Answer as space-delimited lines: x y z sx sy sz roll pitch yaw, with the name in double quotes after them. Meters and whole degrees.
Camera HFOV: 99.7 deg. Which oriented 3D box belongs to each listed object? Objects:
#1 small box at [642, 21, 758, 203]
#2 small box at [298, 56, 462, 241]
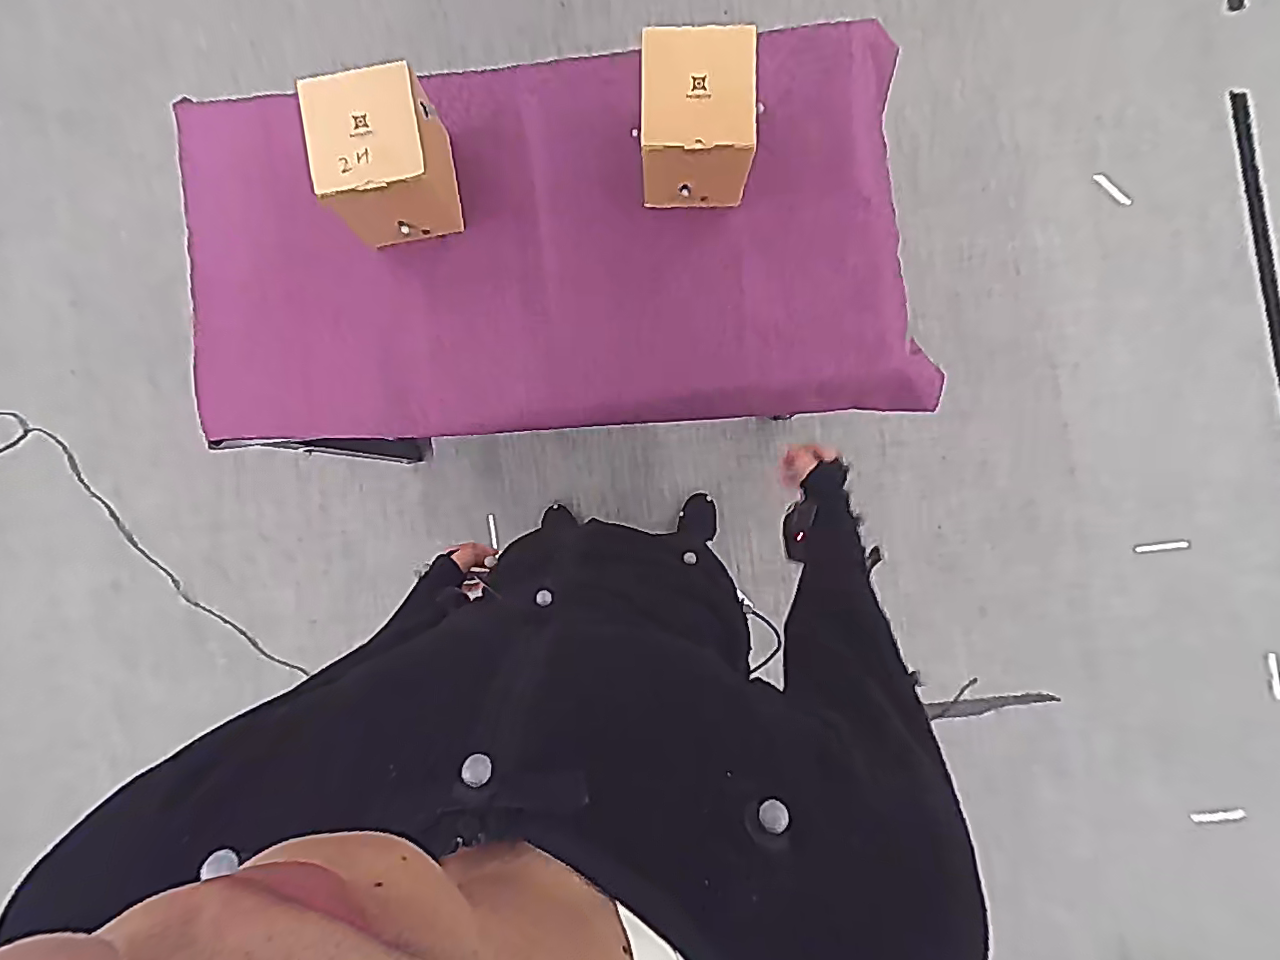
0.087 -0.565 0.847 0.168 0.176 0.179 0 90 2 "small box"
-0.398 -0.511 0.854 0.168 0.176 0.179 -10 89 1 "small box"
